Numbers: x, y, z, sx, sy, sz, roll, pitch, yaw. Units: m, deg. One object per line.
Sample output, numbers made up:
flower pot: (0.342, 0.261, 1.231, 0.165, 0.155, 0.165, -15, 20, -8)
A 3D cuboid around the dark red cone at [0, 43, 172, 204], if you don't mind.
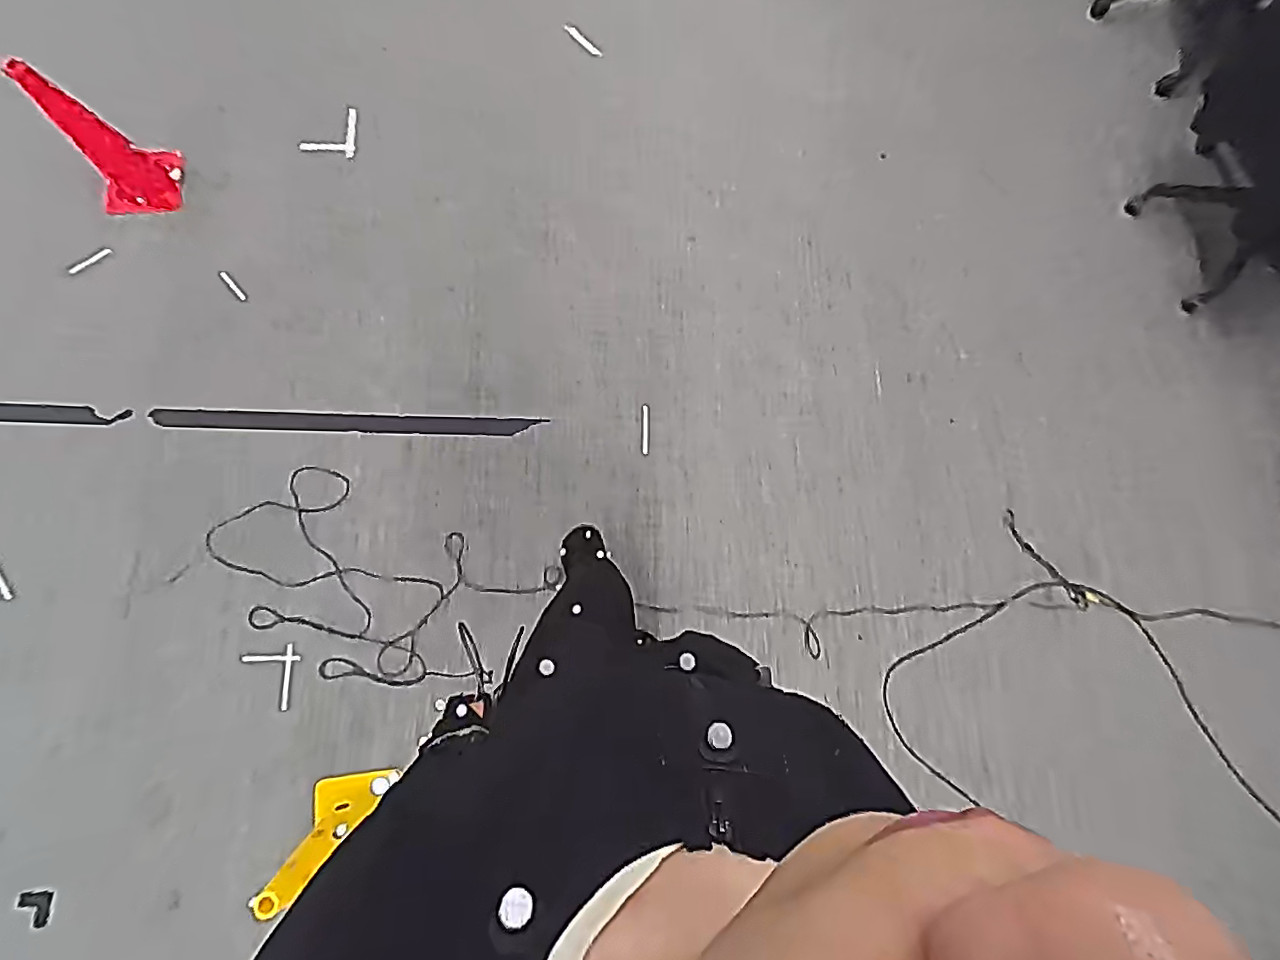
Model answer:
dark red cone: (-1.404, -0.888, 1.343, 0.202, 0.394, 0.201, -6, 79, -5)
